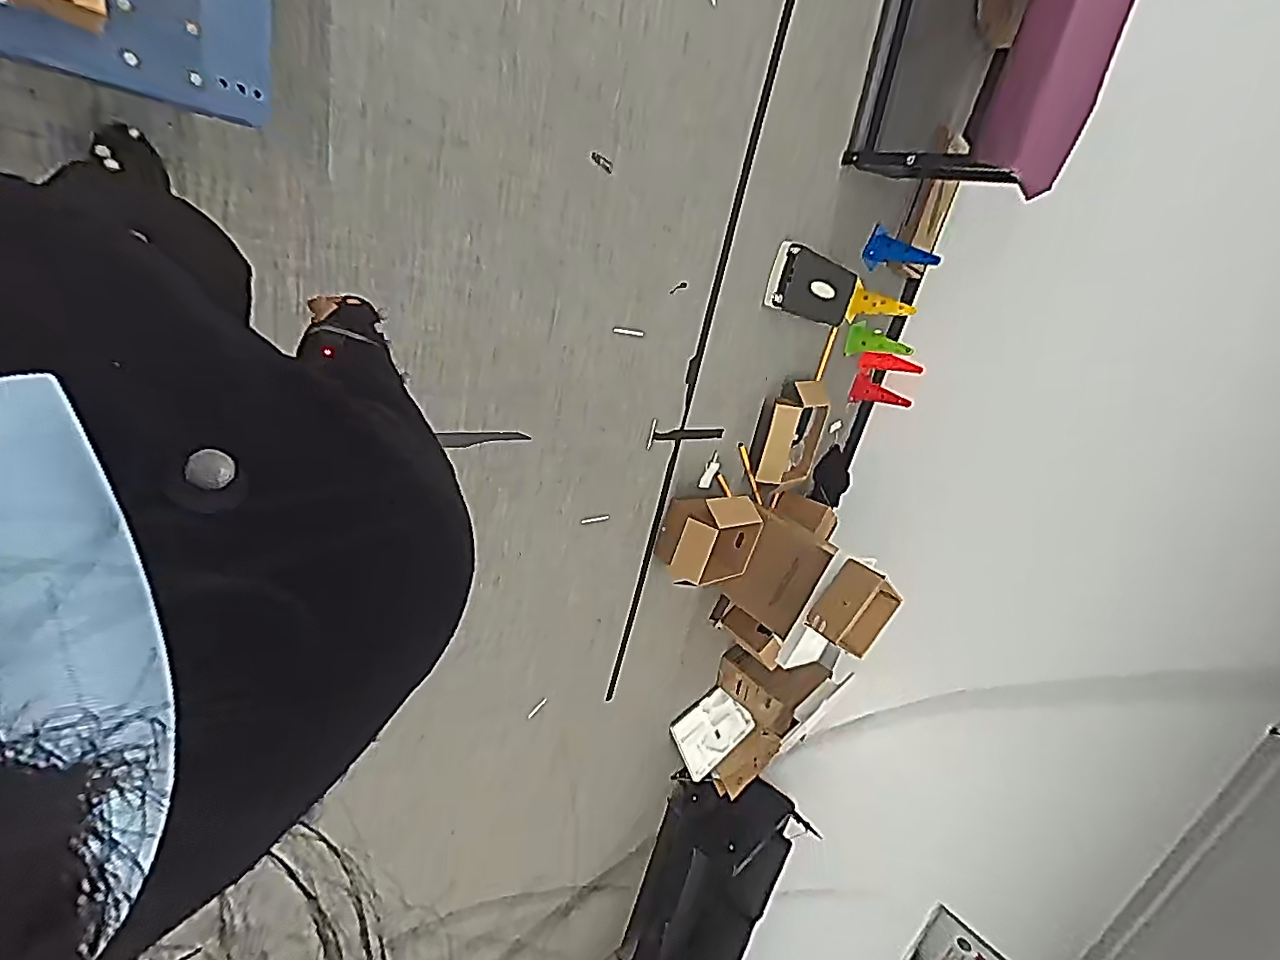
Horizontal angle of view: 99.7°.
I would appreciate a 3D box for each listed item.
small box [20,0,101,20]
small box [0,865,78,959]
[{"bbox_3d":[-0.789,-0.709,0.658,0.168,0.176,0.179,-9,121,-45],"label":"small box"},{"bbox_3d":[-1.357,1.008,1.187,0.168,0.176,0.179,-2,114,-49],"label":"small box"}]
